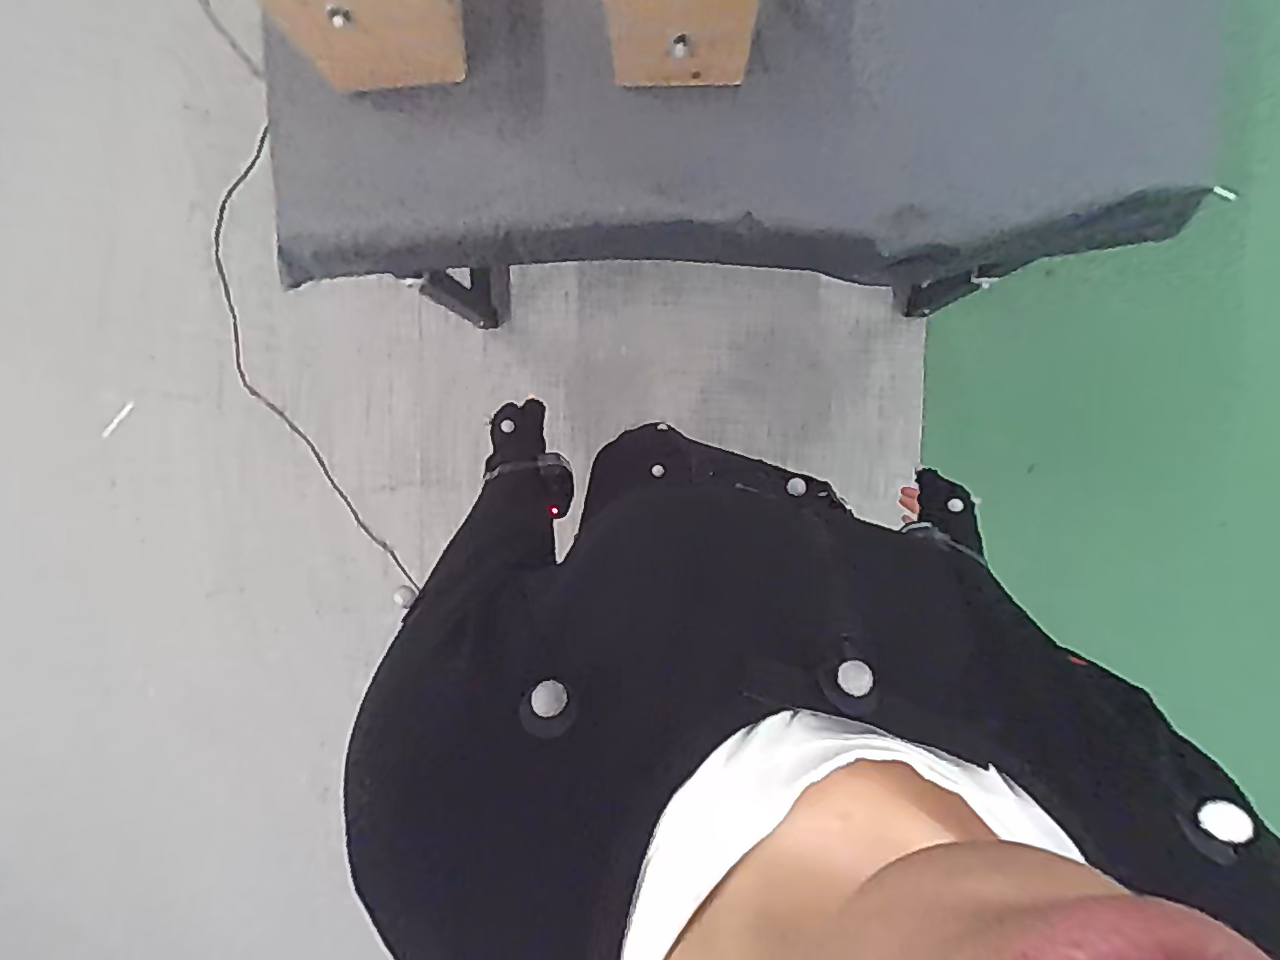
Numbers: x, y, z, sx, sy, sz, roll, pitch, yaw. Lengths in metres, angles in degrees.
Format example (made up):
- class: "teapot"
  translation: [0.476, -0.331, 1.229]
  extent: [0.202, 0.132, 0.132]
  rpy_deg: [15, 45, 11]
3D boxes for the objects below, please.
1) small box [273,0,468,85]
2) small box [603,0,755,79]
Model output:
- class: "small box"
  translation: [-0.321, -0.603, 0.636]
  extent: [0.179, 0.176, 0.168]
  rpy_deg: [-3, 94, 2]
- class: "small box"
  translation: [0.048, -0.595, 0.617]
  extent: [0.168, 0.176, 0.179]
  rpy_deg: [1, 94, 3]
